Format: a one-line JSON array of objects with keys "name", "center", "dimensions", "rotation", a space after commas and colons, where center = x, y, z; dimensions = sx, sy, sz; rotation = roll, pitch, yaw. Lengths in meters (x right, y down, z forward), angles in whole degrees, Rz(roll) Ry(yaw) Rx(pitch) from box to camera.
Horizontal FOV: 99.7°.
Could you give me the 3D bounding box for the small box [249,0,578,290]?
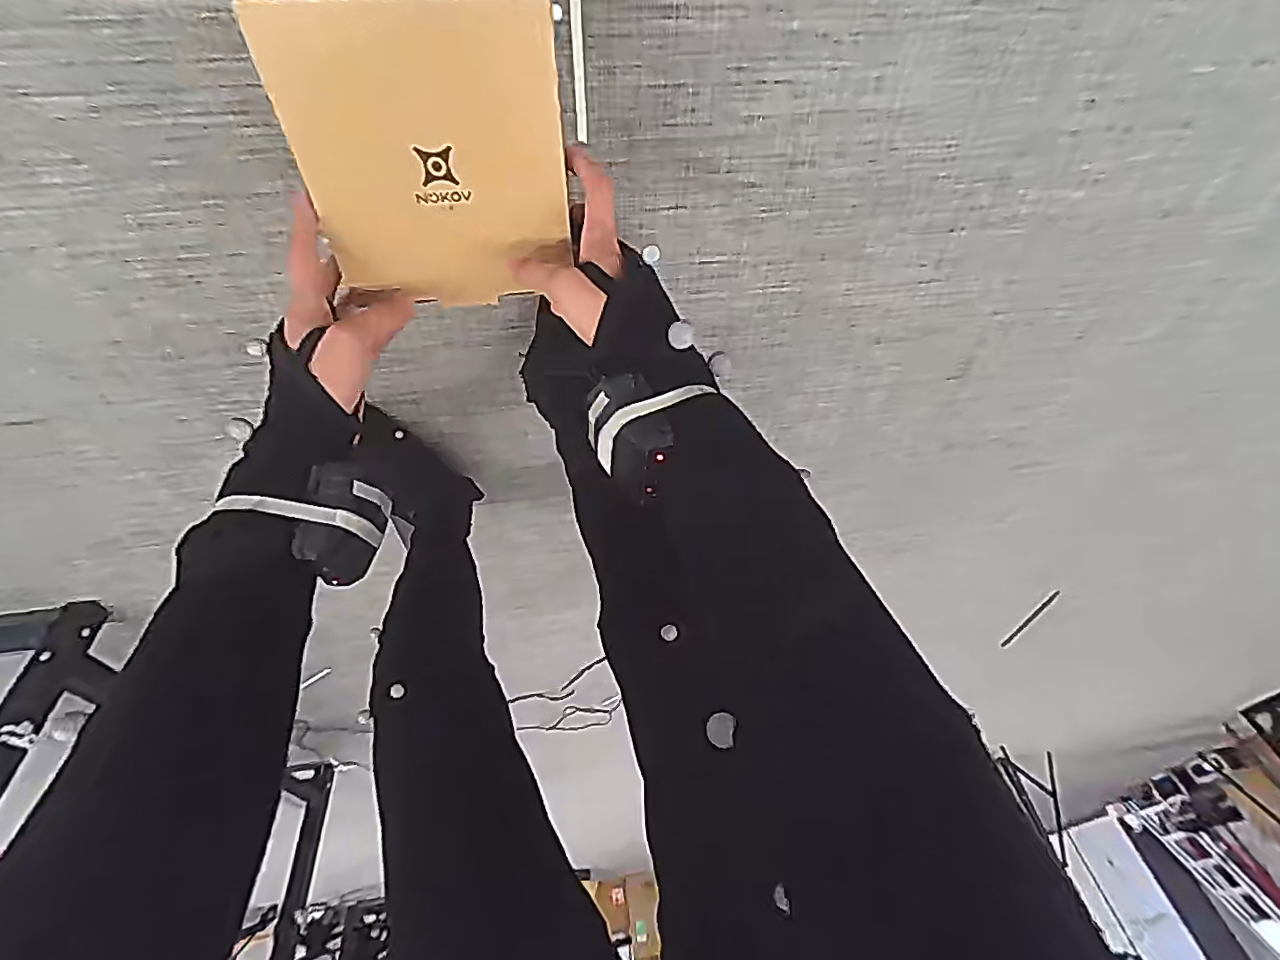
[{"name": "small box", "center": [-0.139, -0.265, 0.399], "dimensions": [0.168, 0.176, 0.179], "rotation": [-6, 139, -7]}]
